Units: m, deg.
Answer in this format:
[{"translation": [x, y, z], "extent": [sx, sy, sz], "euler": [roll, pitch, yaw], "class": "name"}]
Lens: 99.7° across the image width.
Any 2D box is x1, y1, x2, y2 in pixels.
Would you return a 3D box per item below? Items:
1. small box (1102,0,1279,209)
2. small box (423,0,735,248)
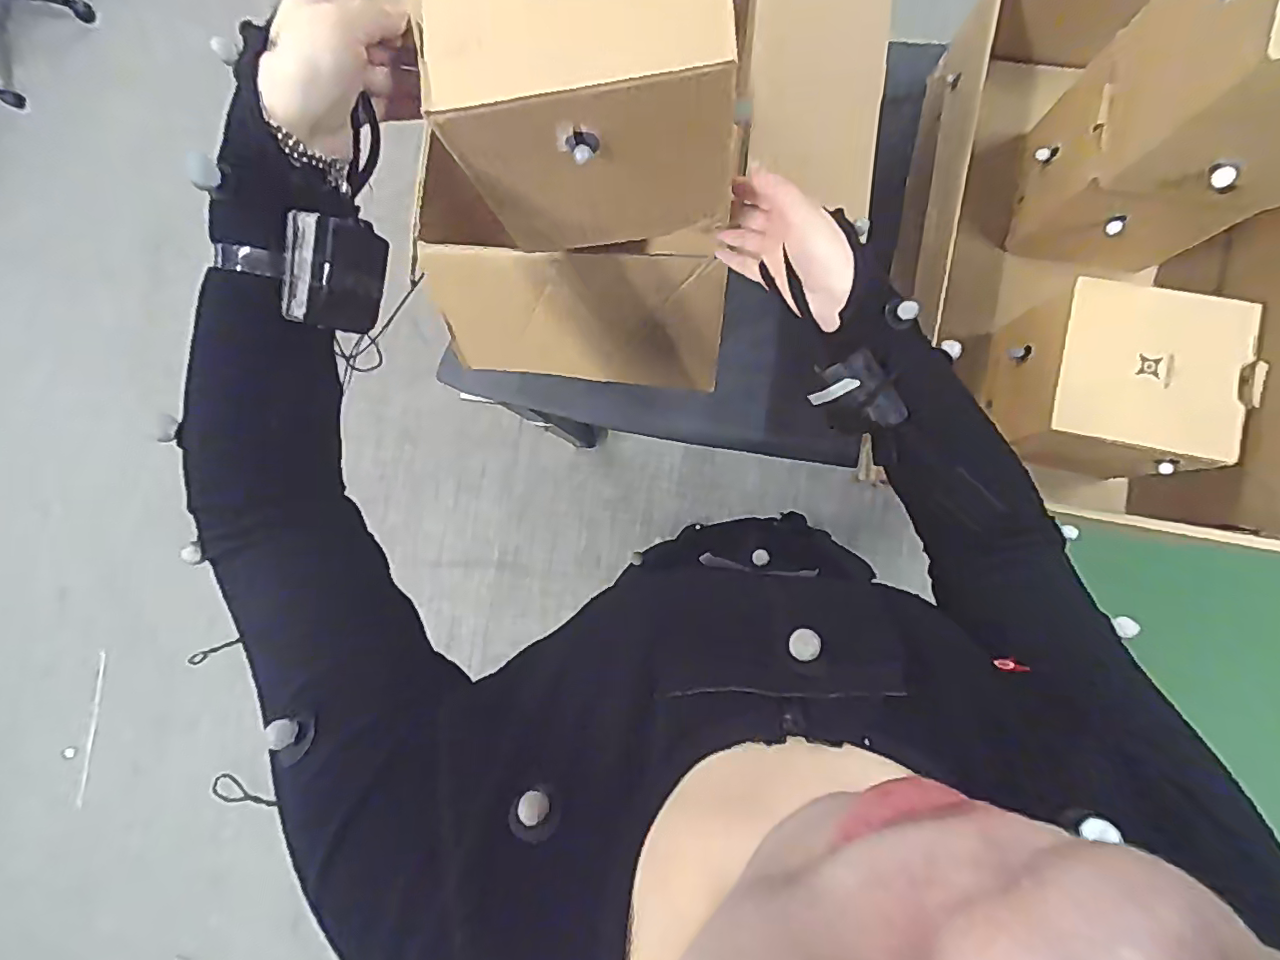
[{"translation": [0.554, -0.371, 0.467], "extent": [0.168, 0.176, 0.179], "euler": [11, 90, 7], "class": "small box"}, {"translation": [-0.028, -0.282, 0.376], "extent": [0.179, 0.176, 0.168], "euler": [-4, 87, 8], "class": "small box"}]
